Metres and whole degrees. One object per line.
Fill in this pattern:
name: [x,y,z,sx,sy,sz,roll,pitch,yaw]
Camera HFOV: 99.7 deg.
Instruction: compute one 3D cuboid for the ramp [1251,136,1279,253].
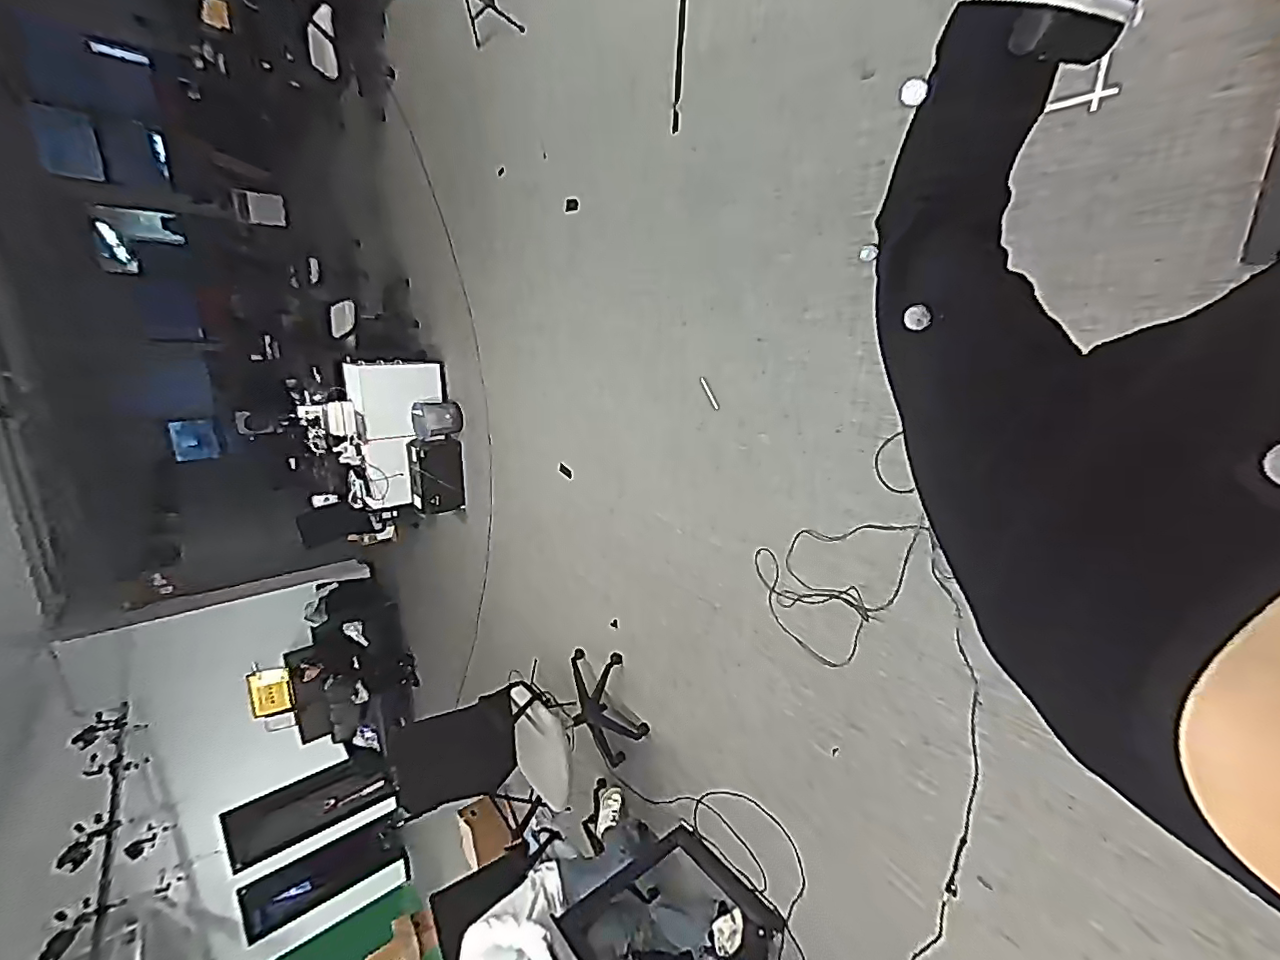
ramp: [1.191,-0.813,0.607,0.509,0.206,0.991,16,112,47]
